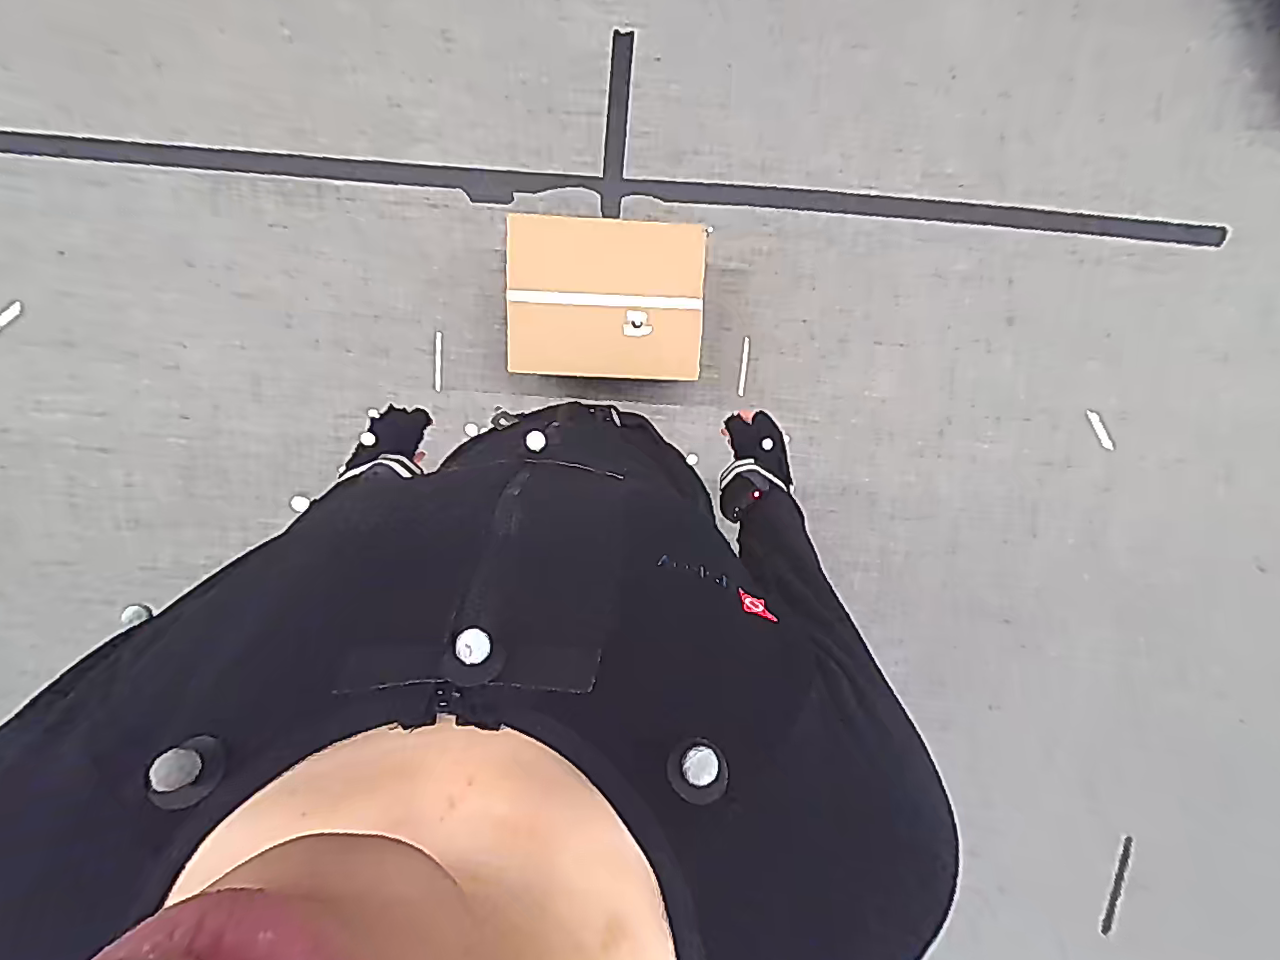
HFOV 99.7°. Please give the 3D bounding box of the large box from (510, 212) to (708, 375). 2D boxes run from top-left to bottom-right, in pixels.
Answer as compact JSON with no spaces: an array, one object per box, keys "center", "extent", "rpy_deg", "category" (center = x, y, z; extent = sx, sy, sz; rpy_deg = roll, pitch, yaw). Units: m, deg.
[{"center":[-0.073,-0.406,1.257],"extent":[0.408,0.320,0.320],"rpy_deg":[2,101,-3],"category":"large box"}]
